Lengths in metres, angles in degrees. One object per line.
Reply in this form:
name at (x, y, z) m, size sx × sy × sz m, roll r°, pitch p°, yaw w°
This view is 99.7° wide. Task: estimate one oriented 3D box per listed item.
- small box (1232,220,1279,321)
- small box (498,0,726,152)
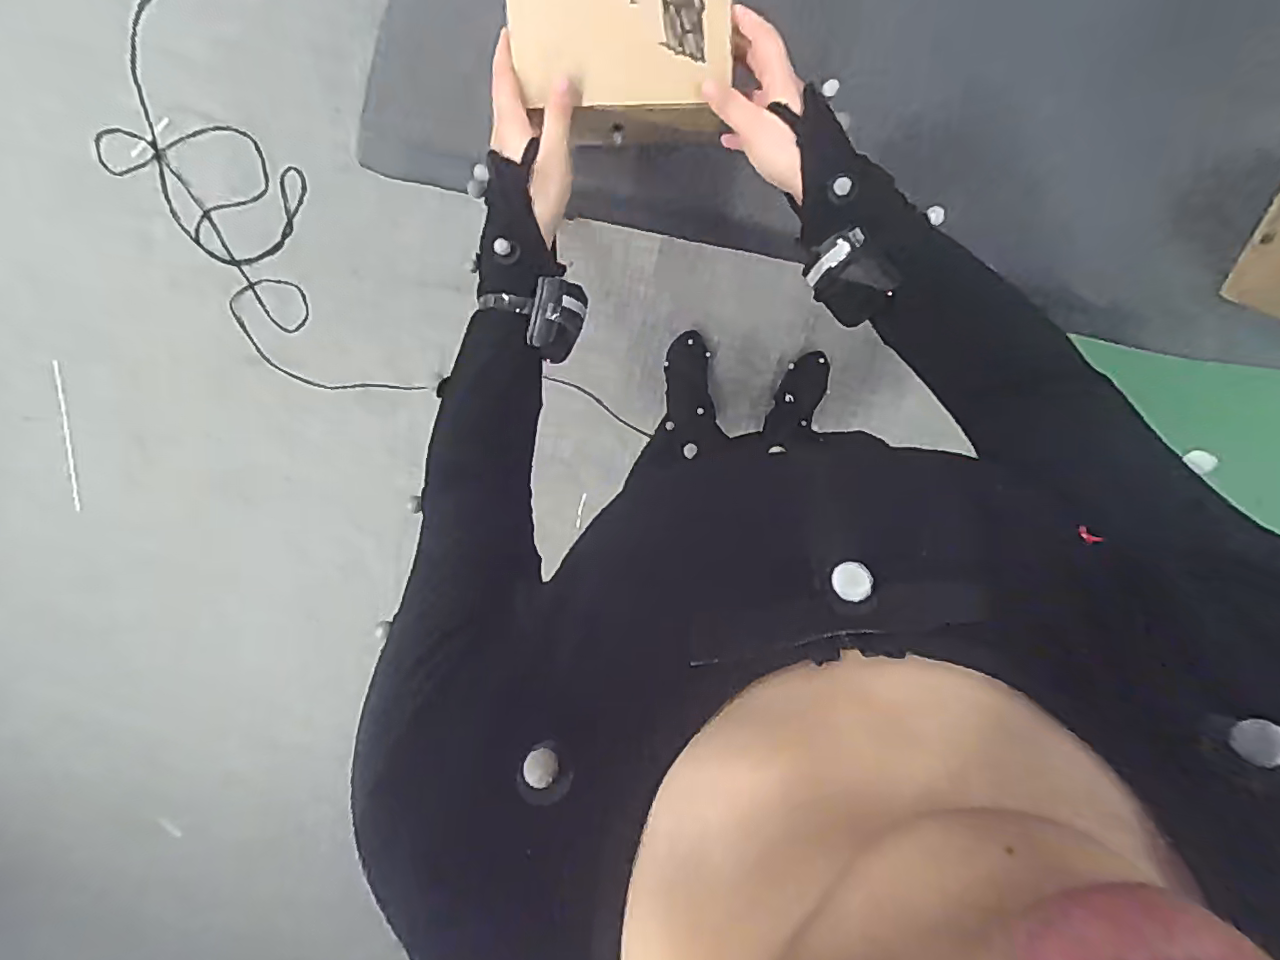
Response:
small box at (0.766, -0.229, 0.522) m, size 0.179 × 0.176 × 0.168 m, roll 19°, pitch 105°, yaw -1°
small box at (-0.022, -0.401, 0.481) m, size 0.179 × 0.176 × 0.168 m, roll -1°, pitch 113°, yaw 1°
